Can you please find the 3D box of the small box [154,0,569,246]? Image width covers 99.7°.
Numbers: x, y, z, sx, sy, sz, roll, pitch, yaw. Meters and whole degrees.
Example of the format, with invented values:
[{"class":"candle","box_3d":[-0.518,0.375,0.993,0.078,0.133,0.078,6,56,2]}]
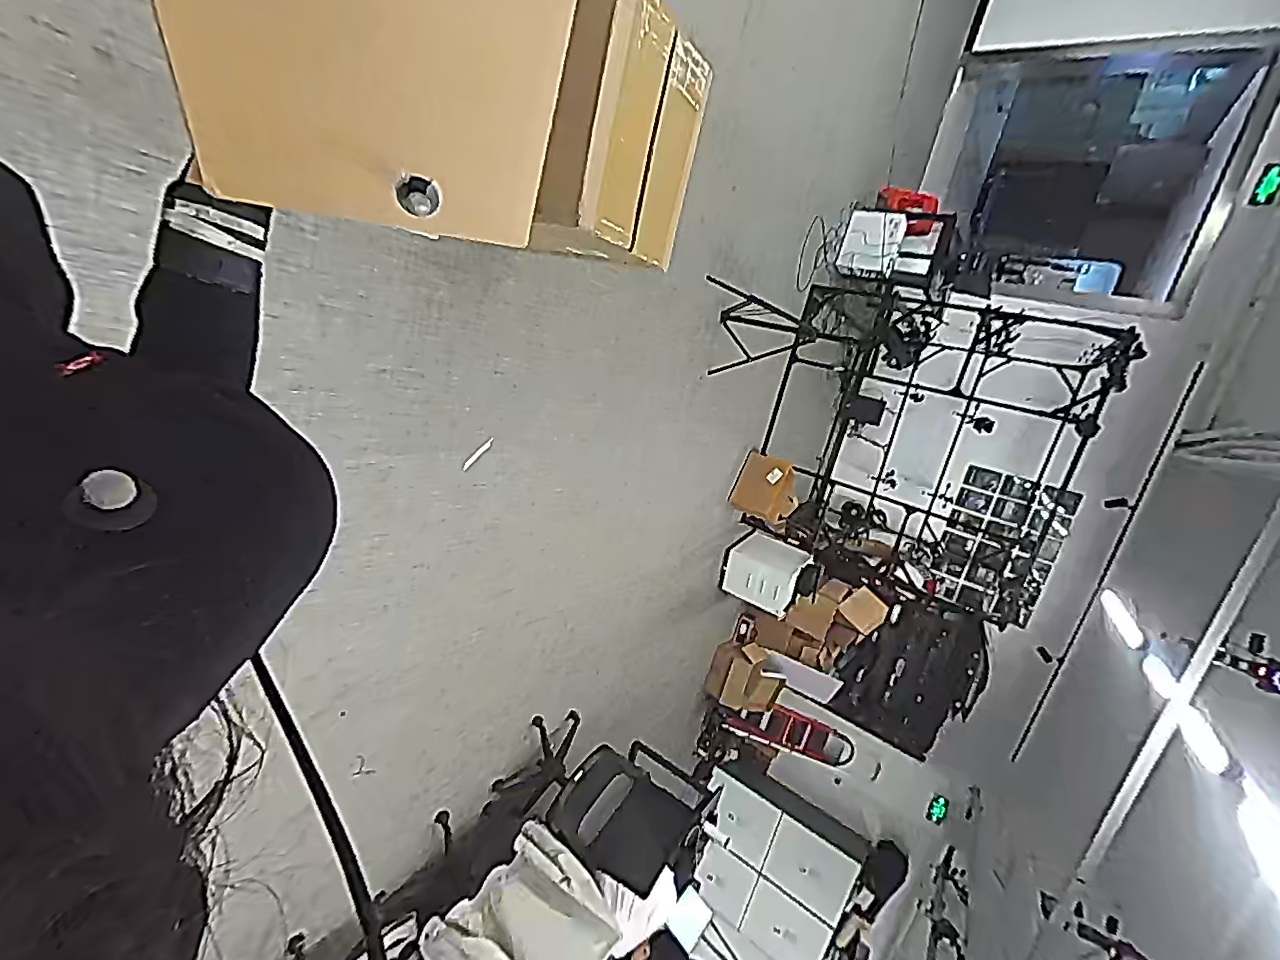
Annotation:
[{"class":"small box","box_3d":[-0.137,-0.262,0.285,0.168,0.179,0.176,0,146,-25]}]
